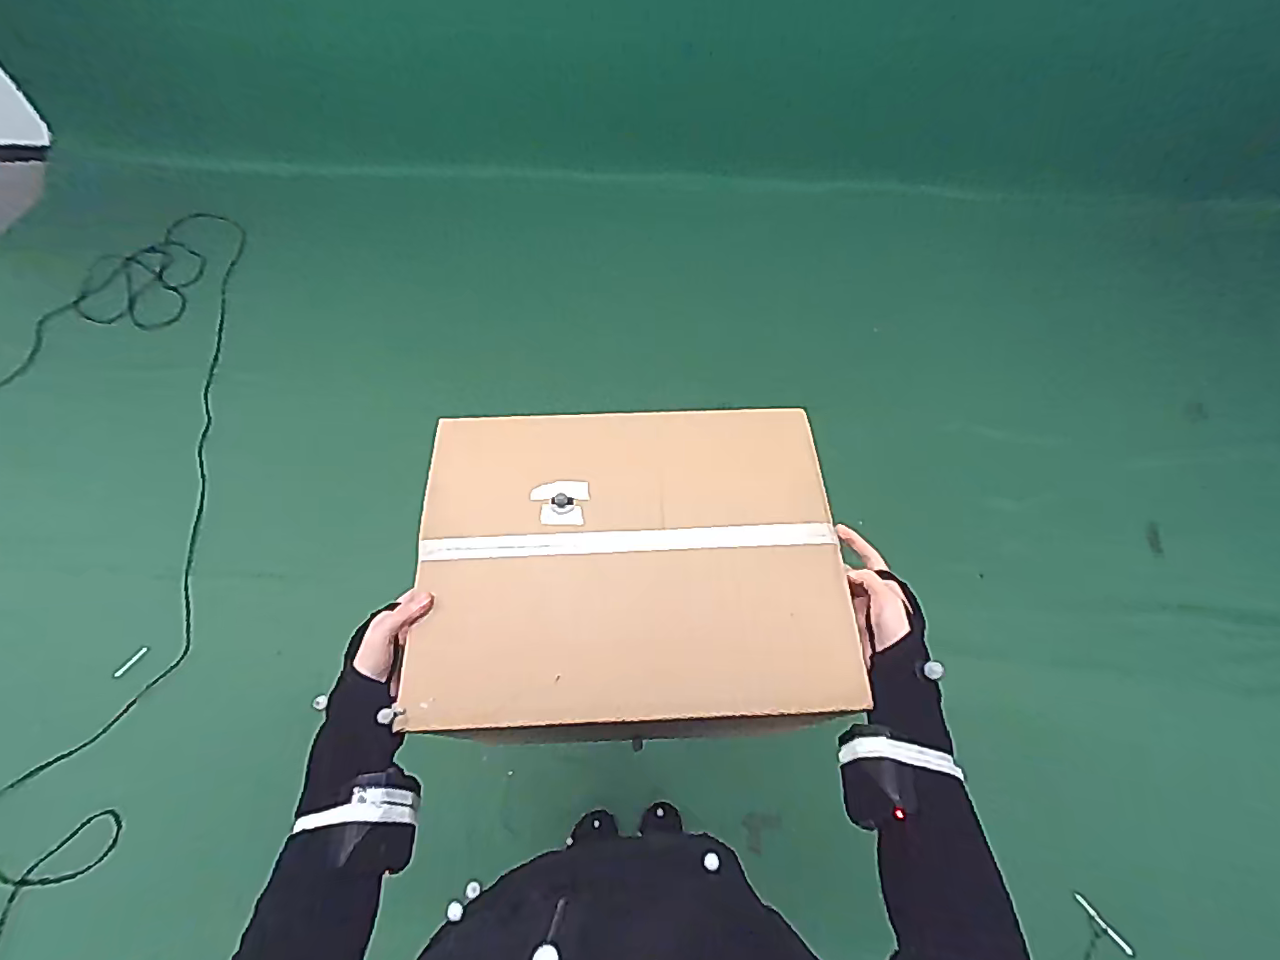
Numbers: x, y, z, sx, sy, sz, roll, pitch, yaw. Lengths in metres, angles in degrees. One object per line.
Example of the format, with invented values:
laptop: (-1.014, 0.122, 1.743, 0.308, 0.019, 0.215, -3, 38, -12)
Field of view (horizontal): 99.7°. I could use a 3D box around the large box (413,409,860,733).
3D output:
large box: (-0.006, 0.132, 0.673, 0.408, 0.320, 0.320, -2, 62, -1)
